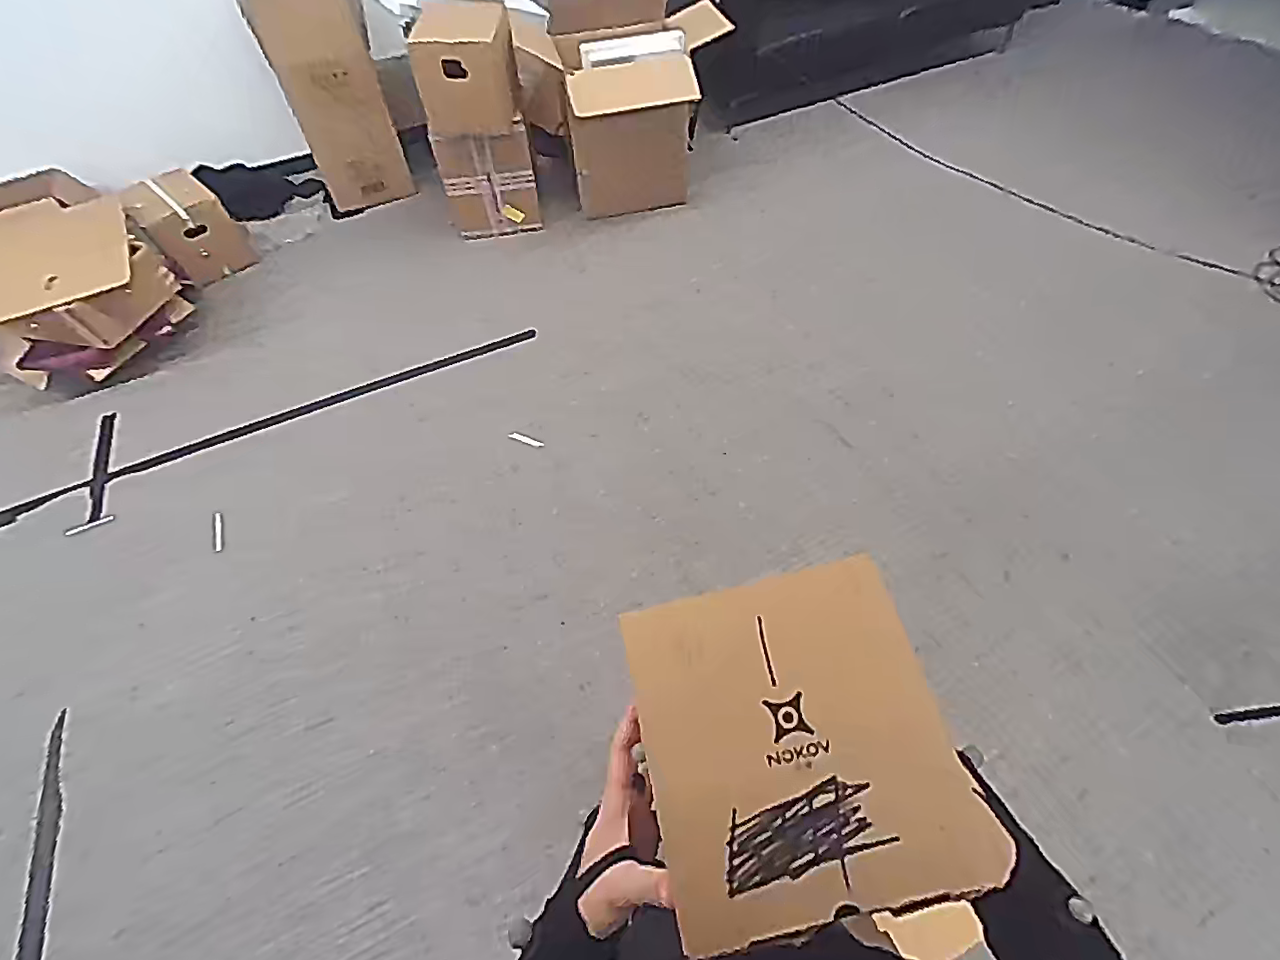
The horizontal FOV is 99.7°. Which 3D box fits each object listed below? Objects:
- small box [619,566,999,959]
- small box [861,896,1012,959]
[{"bbox_3d":[0.090,0.179,0.372,0.168,0.176,0.179,-13,64,-1],"label":"small box"},{"bbox_3d":[0.413,0.626,0.839,0.179,0.176,0.168,-22,57,-10],"label":"small box"}]
